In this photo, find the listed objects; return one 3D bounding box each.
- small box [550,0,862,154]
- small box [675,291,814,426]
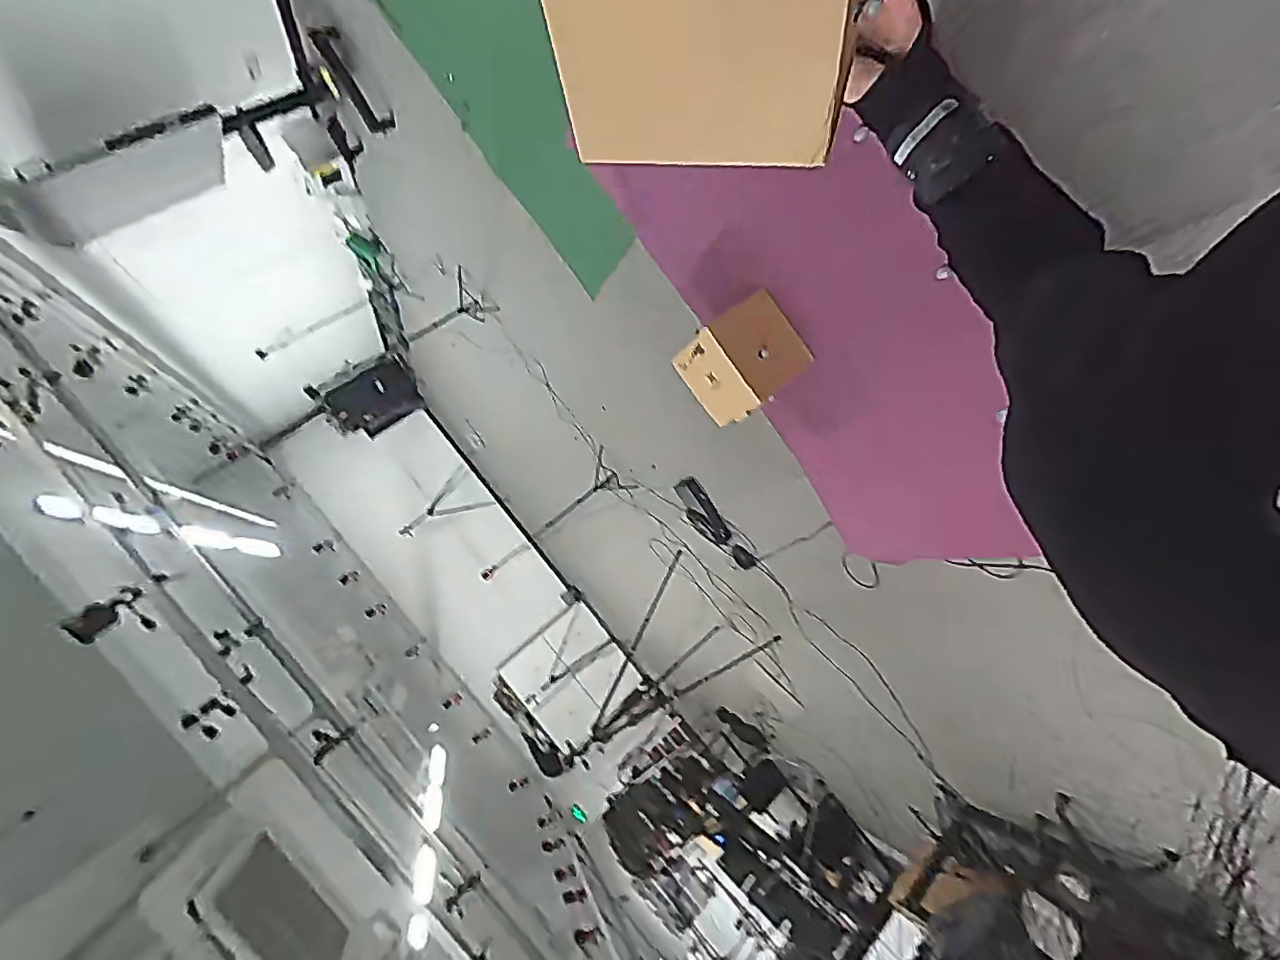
[{"bbox_3d":[0.049,-0.321,0.308,0.168,0.179,0.176,11,153,16],"label":"small box"},{"bbox_3d":[0.210,-0.241,1.082,0.179,0.176,0.168,51,157,-4],"label":"small box"}]
